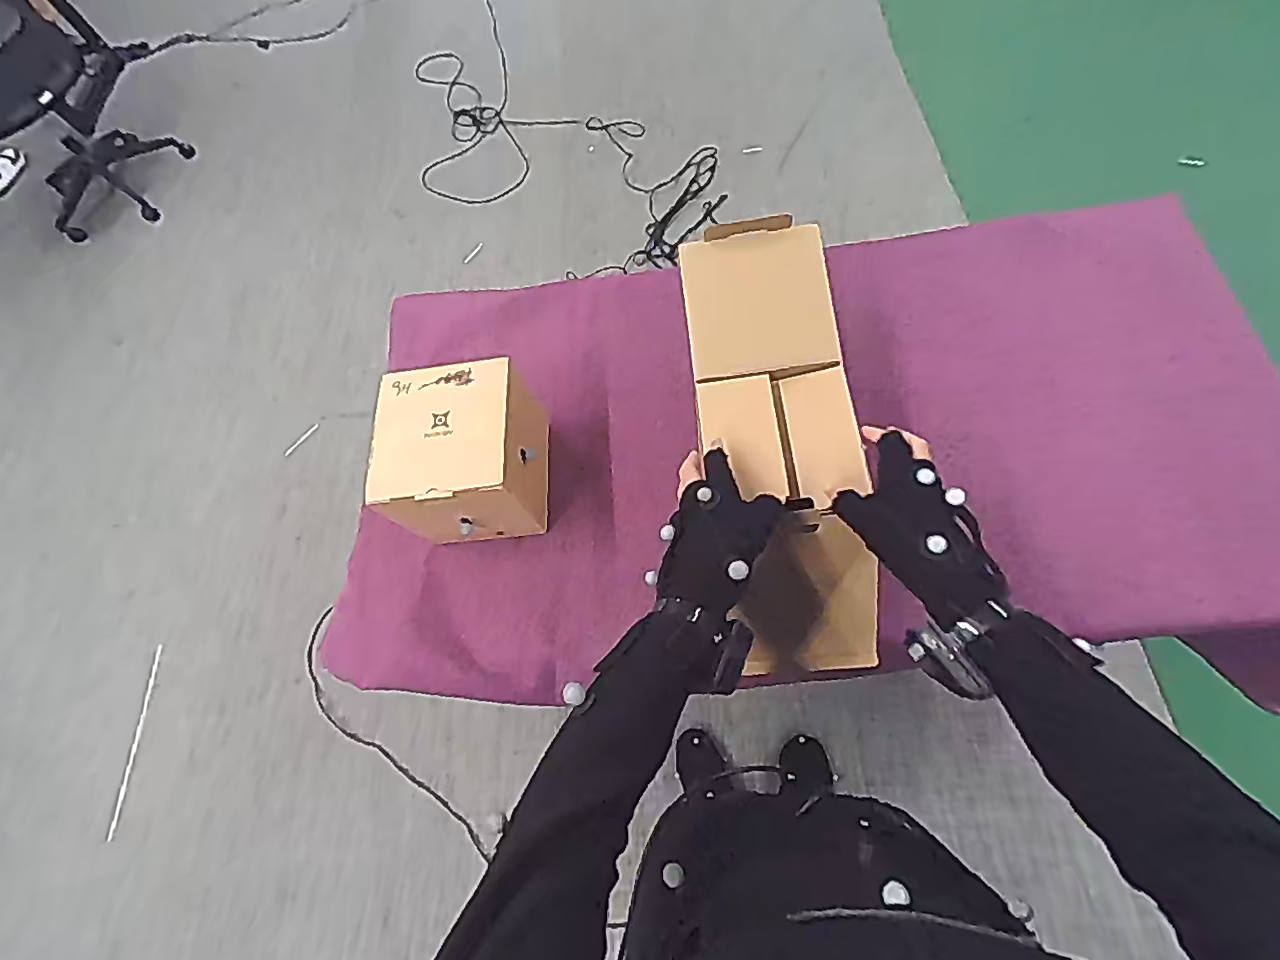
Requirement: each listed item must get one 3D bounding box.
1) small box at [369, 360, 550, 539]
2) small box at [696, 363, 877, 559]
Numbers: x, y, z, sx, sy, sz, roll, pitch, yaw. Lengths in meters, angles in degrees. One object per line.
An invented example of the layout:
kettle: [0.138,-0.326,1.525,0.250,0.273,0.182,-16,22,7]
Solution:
small box: [-0.219,-0.028,0.706,0.168,0.176,0.179,-6,66,6]
small box: [0.160,-0.010,0.641,0.168,0.176,0.179,-6,66,6]
